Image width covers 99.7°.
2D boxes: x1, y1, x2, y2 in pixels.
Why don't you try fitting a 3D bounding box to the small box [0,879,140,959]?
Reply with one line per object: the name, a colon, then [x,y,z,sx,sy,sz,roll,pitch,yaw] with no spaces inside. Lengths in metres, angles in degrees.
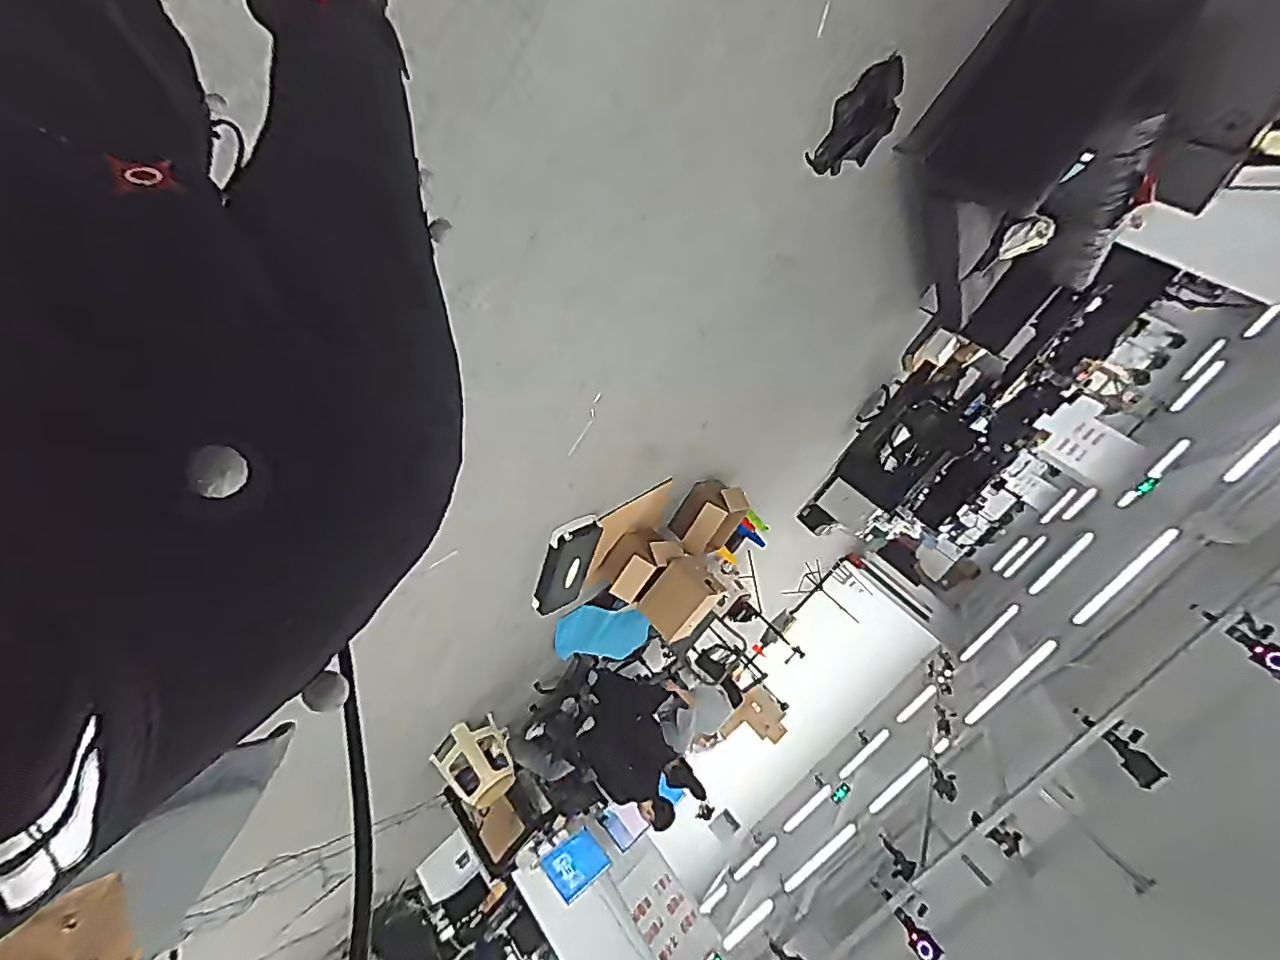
small box: [-0.986,0.833,0.913,0.168,0.176,0.179,4,125,-57]
